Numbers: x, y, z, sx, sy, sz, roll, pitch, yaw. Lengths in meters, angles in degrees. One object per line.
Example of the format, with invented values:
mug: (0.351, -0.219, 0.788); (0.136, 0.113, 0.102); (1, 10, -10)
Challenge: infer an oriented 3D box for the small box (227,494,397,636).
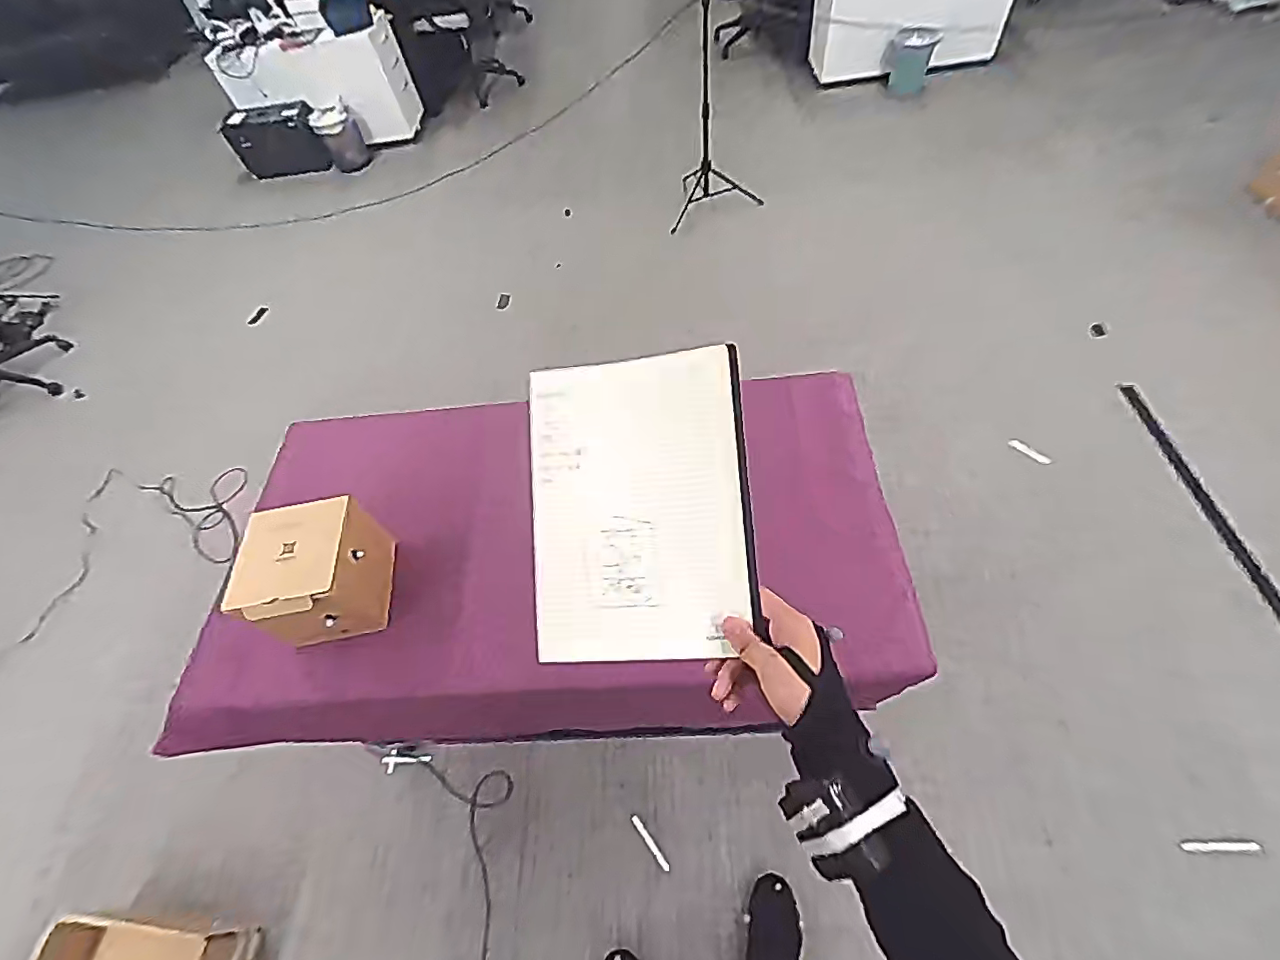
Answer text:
small box: (-0.529, 0.150, 0.905); (0.168, 0.176, 0.179); (-10, 55, 0)
